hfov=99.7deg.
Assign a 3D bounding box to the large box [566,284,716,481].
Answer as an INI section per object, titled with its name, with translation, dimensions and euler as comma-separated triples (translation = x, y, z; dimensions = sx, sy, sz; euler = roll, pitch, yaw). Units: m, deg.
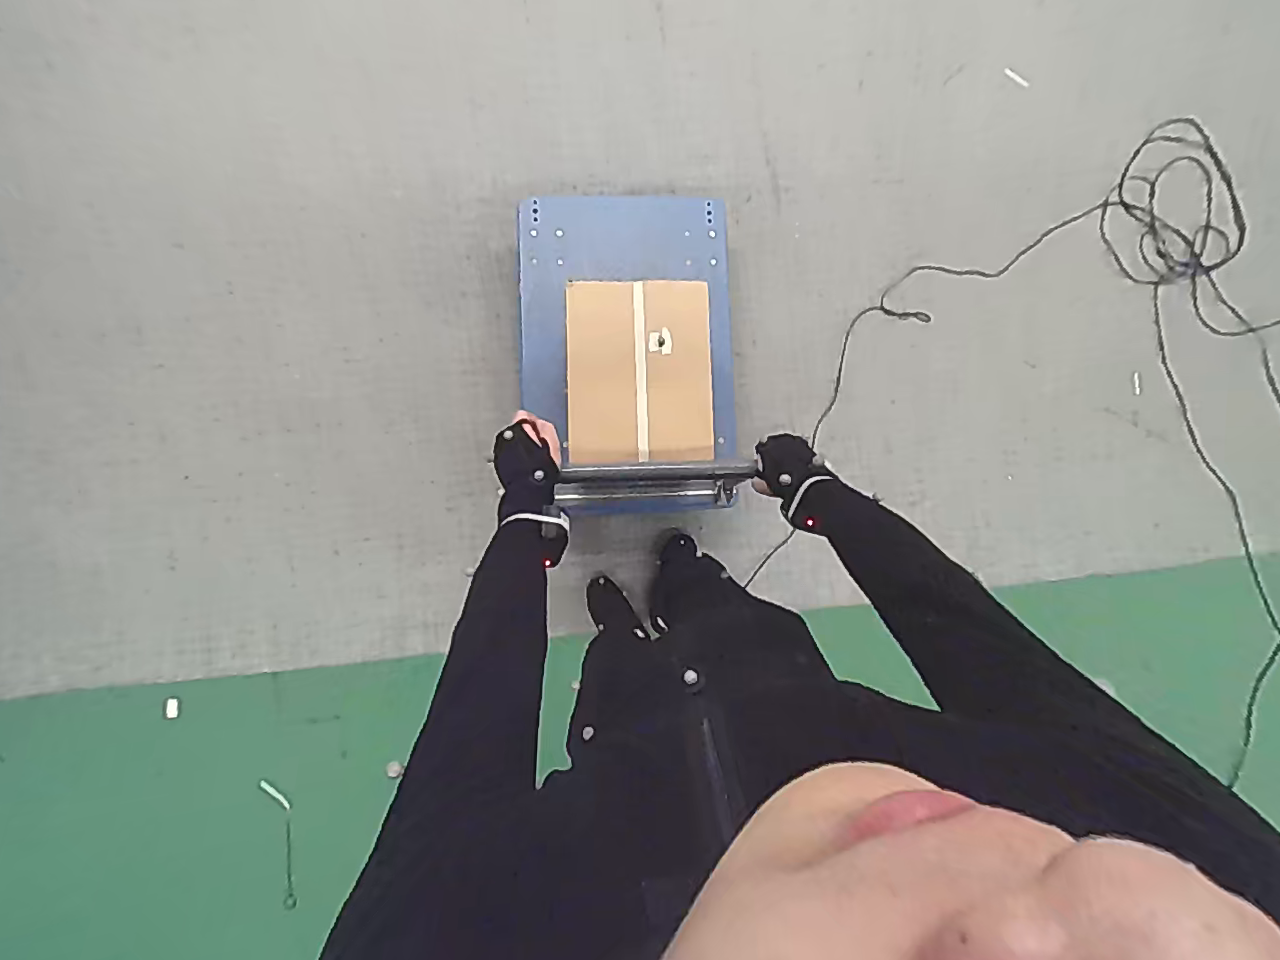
[large box]
translation = -0.007, -0.214, 1.306
dimensions = 0.320, 0.320, 0.408
euler = -1, 85, -5
